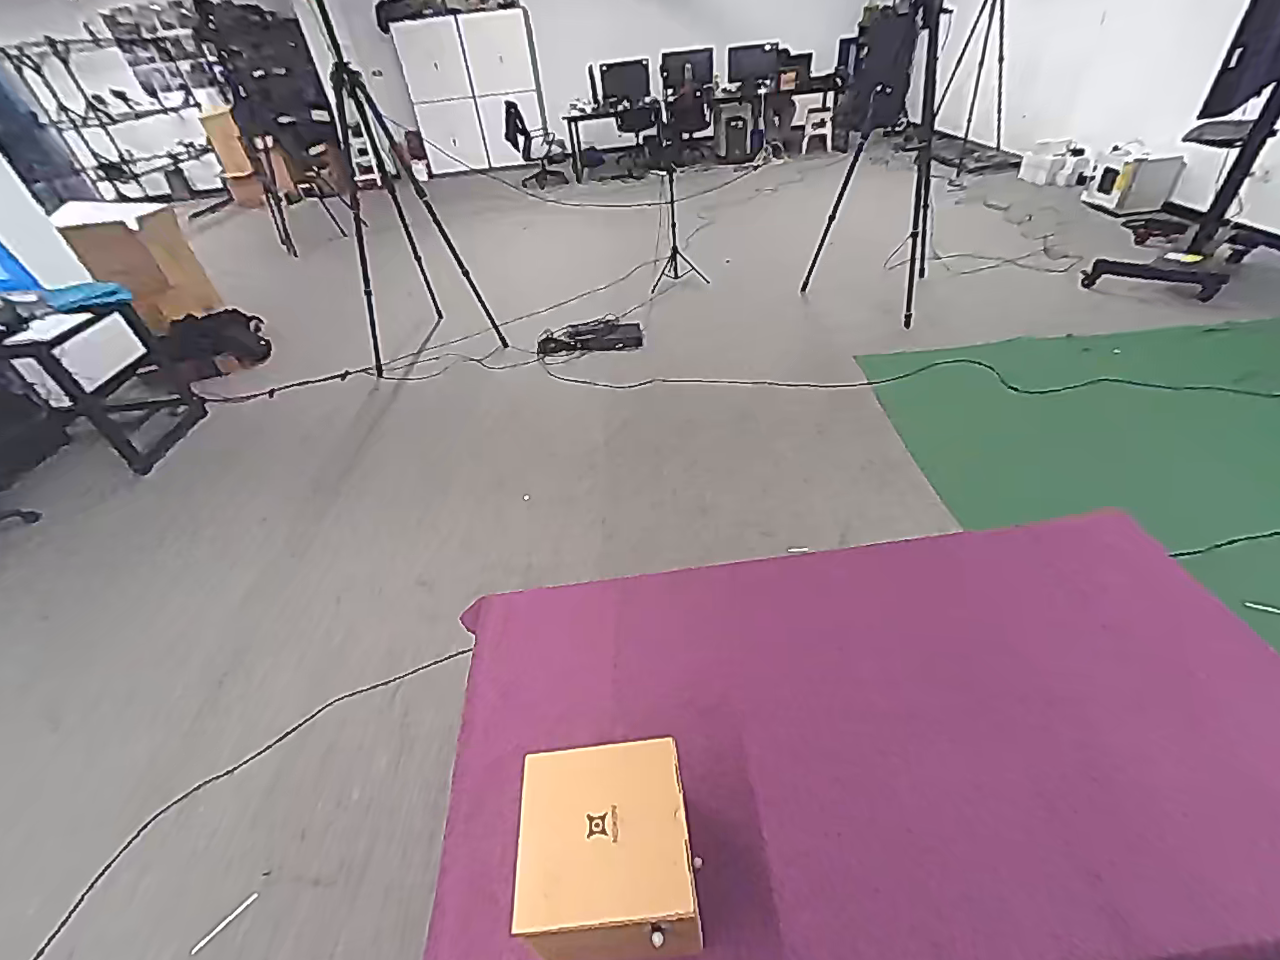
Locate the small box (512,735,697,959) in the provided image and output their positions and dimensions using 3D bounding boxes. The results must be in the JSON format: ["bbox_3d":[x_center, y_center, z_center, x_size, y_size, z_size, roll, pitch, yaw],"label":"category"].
[{"bbox_3d":[-0.033,0.420,0.618,0.179,0.176,0.168,-6,40,-1],"label":"small box"}]
